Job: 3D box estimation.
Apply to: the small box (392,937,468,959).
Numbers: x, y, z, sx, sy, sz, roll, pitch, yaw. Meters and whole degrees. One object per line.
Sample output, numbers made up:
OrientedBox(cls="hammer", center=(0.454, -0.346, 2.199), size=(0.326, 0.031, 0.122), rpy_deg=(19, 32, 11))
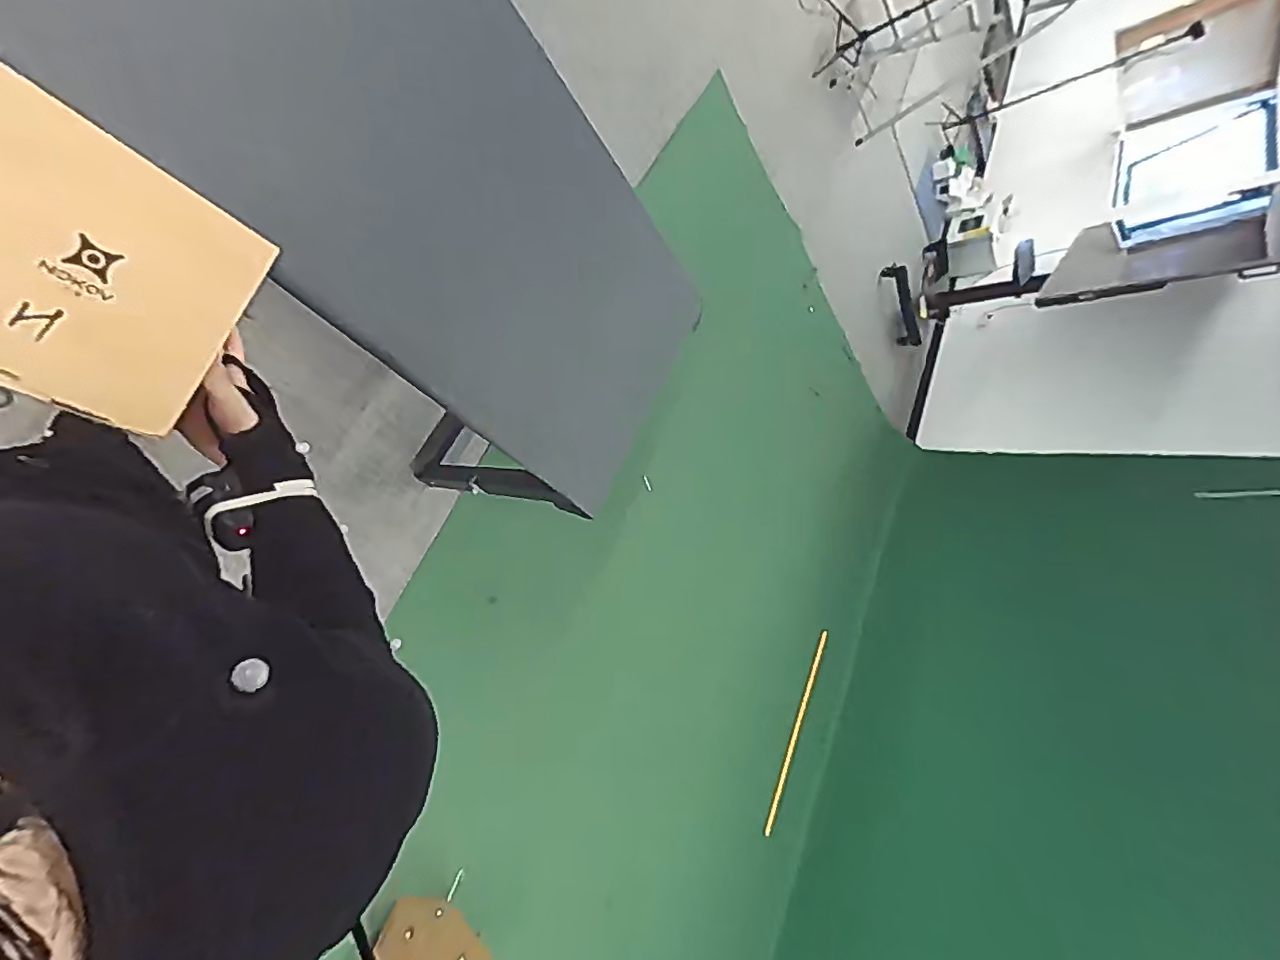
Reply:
OrientedBox(cls="small box", center=(-0.557, 1.335, 1.411), size=(0.179, 0.176, 0.168), rpy_deg=(43, 62, -41))

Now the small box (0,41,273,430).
OrientedBox(cls="small box", center=(-0.421, -0.152, 0.394), size=(0.168, 0.176, 0.179), rpy_deg=(37, 67, -48))
